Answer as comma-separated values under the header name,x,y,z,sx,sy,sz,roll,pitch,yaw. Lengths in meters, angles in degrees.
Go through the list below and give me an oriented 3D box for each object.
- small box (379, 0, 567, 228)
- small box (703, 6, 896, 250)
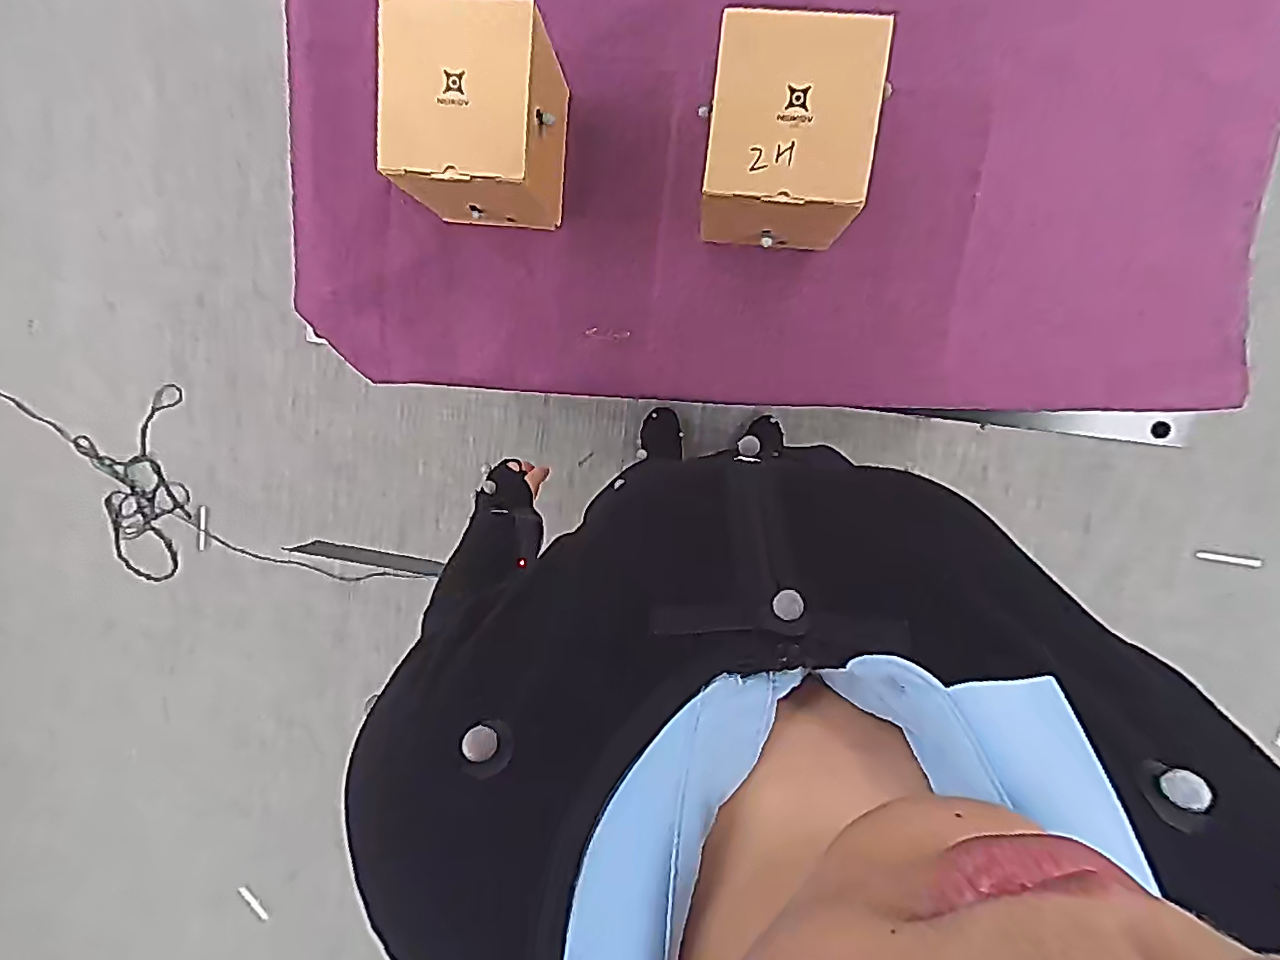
name,x,y,z,sx,sy,sz,roll,pitch,yaw
small box,-0.186,-0.423,0.644,0.168,0.176,0.179,6,100,4
small box,0.164,-0.381,0.615,0.168,0.176,0.179,7,99,5
